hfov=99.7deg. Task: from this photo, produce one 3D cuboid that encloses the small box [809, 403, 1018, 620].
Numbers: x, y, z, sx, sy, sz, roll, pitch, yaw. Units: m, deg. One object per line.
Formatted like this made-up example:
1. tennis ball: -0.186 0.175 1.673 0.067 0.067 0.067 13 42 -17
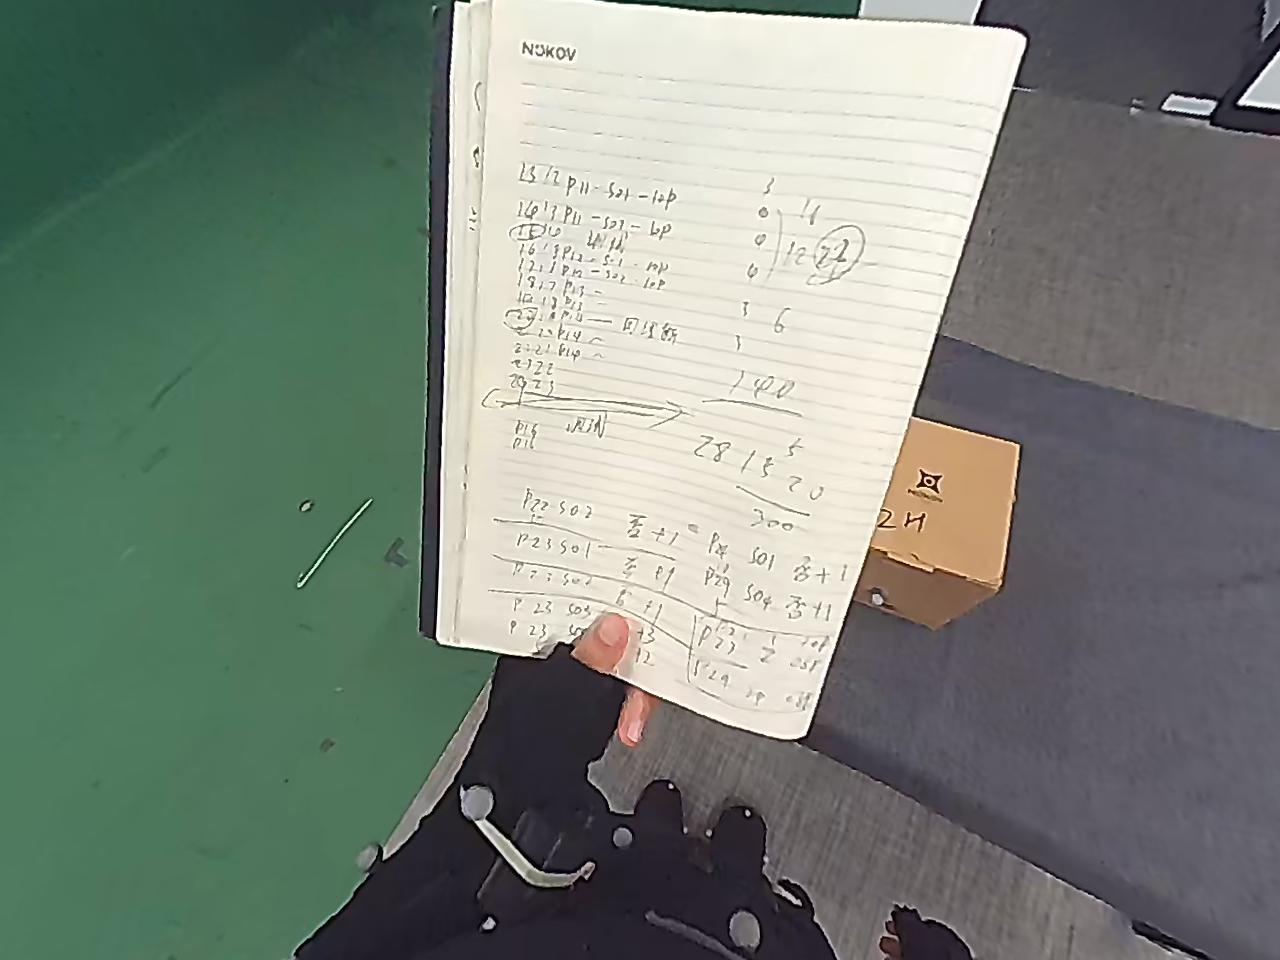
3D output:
1. small box: 0.312 0.042 0.645 0.168 0.176 0.179 18 66 16
